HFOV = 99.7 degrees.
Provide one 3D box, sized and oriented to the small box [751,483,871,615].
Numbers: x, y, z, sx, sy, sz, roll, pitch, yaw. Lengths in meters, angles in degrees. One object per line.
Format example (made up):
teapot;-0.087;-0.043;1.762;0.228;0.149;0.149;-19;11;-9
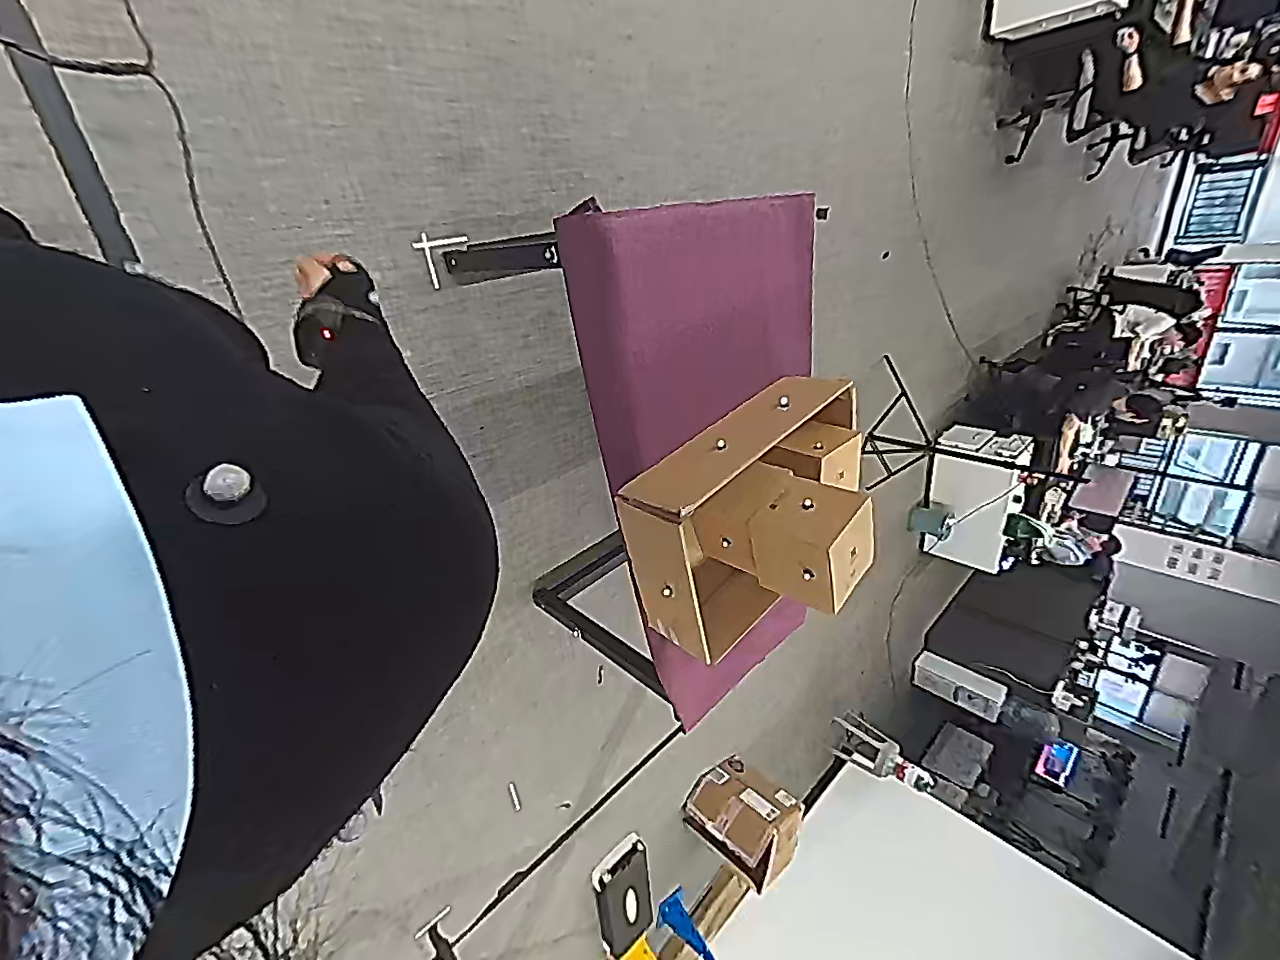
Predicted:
small box;0.332;0.123;1.056;0.168;0.176;0.179;-40;130;-30
